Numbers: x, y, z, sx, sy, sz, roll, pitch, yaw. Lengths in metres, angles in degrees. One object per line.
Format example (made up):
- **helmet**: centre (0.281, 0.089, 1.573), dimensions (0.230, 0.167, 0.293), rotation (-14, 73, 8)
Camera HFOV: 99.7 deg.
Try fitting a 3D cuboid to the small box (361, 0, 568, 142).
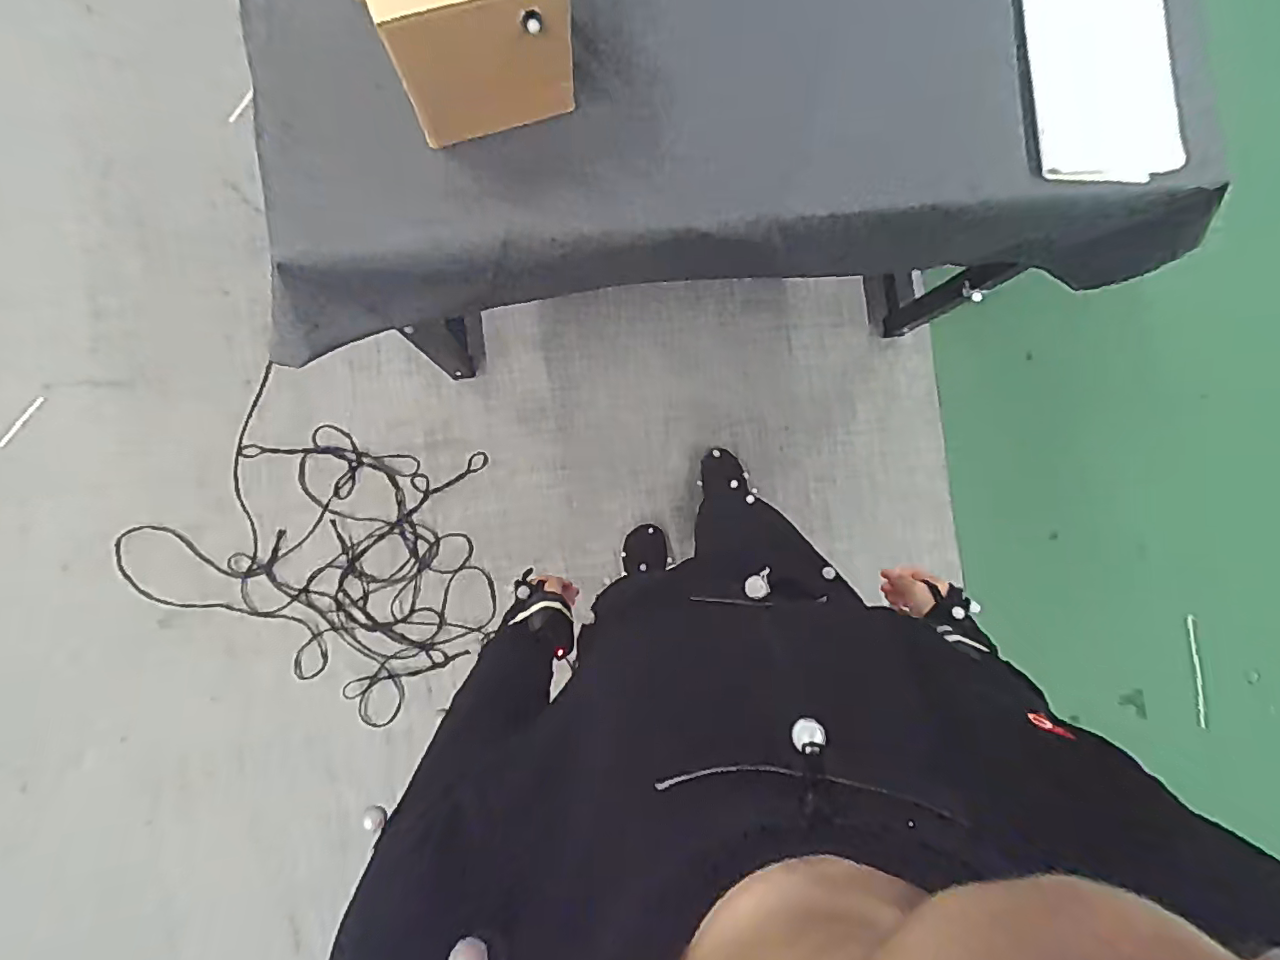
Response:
- **small box**: centre (-0.180, -0.482, 0.544), dimensions (0.179, 0.176, 0.168), rotation (-20, 89, -7)
